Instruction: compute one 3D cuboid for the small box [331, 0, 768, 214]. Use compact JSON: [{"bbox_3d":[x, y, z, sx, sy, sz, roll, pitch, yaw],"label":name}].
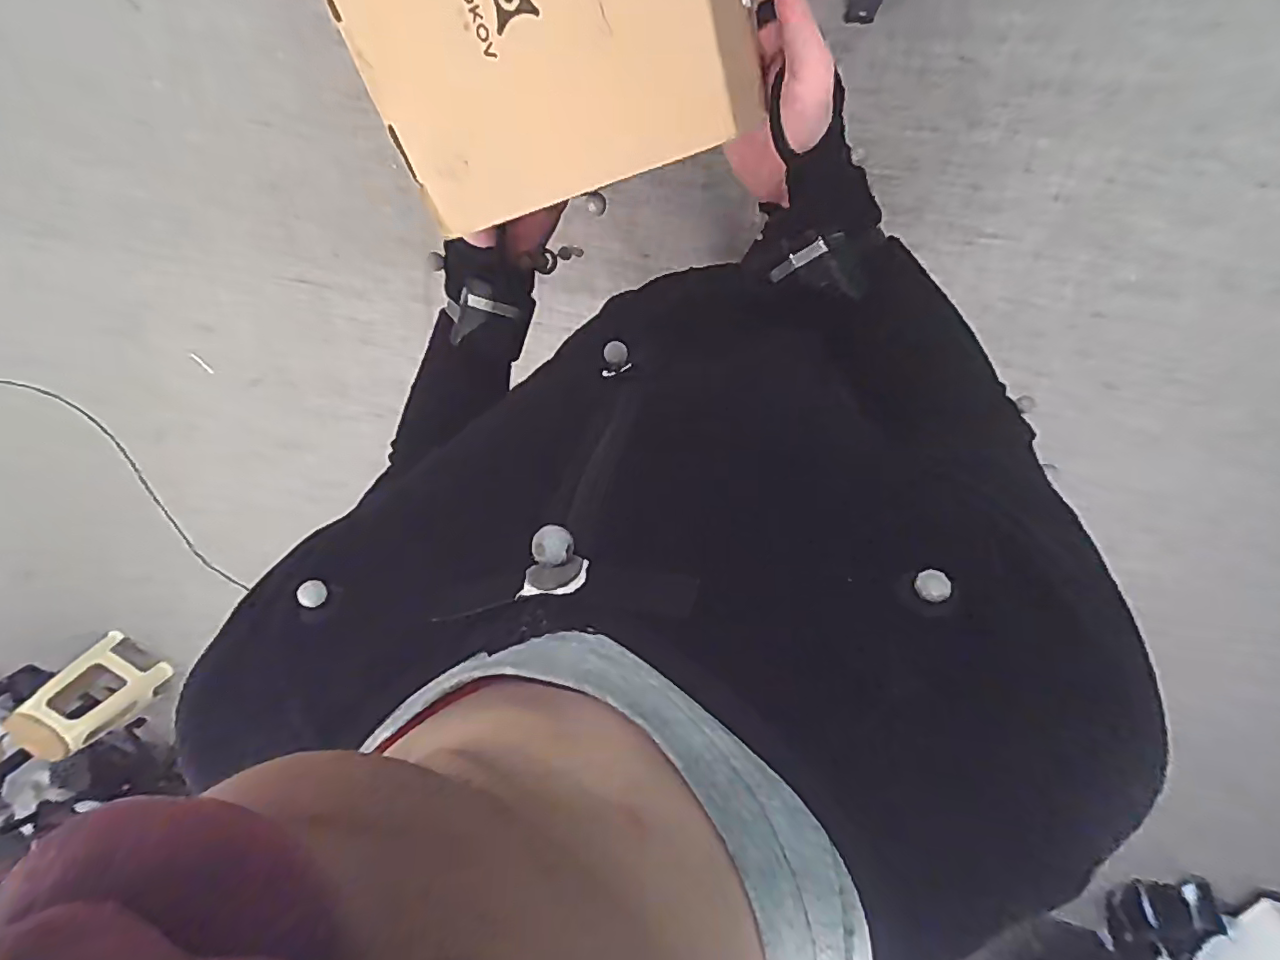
[{"bbox_3d":[-0.040,-0.266,0.287,0.179,0.176,0.168,-7,125,23],"label":"small box"}]
